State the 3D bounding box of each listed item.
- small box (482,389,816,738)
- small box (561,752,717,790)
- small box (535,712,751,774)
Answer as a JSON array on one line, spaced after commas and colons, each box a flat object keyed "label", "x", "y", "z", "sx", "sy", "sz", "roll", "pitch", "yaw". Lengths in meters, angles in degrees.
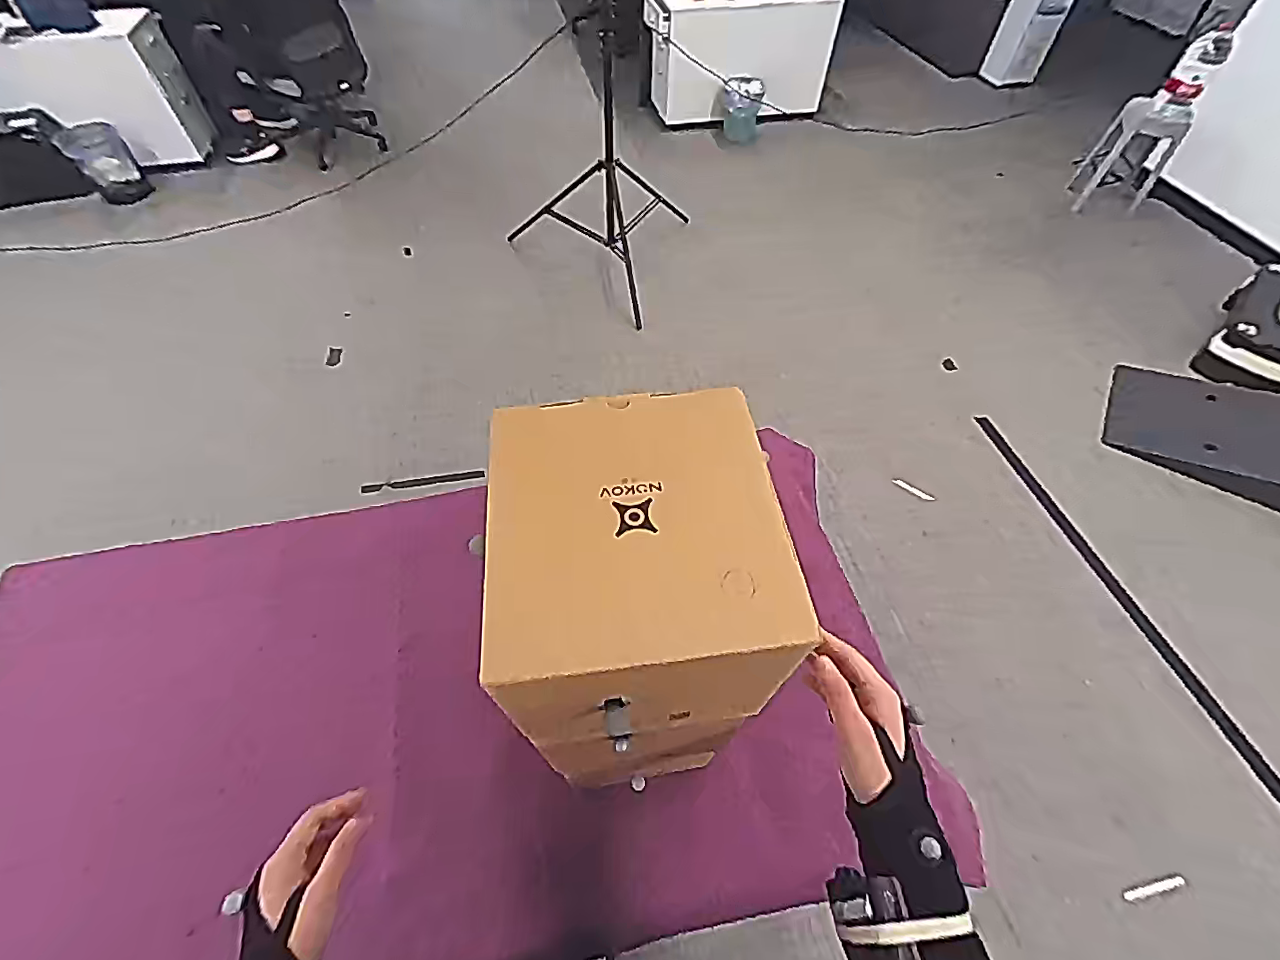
[{"label": "small box", "x": -0.003, "y": 0.065, "z": 0.369, "sx": 0.168, "sy": 0.176, "sz": 0.179, "roll": -6, "pitch": 54, "yaw": -5}, {"label": "small box", "x": -0.010, "y": 0.247, "z": 0.640, "sx": 0.168, "sy": 0.176, "sz": 0.179, "roll": -8, "pitch": 55, "yaw": -6}, {"label": "small box", "x": -0.007, "y": 0.155, "z": 0.505, "sx": 0.168, "sy": 0.176, "sz": 0.179, "roll": -6, "pitch": 54, "yaw": -4}]
